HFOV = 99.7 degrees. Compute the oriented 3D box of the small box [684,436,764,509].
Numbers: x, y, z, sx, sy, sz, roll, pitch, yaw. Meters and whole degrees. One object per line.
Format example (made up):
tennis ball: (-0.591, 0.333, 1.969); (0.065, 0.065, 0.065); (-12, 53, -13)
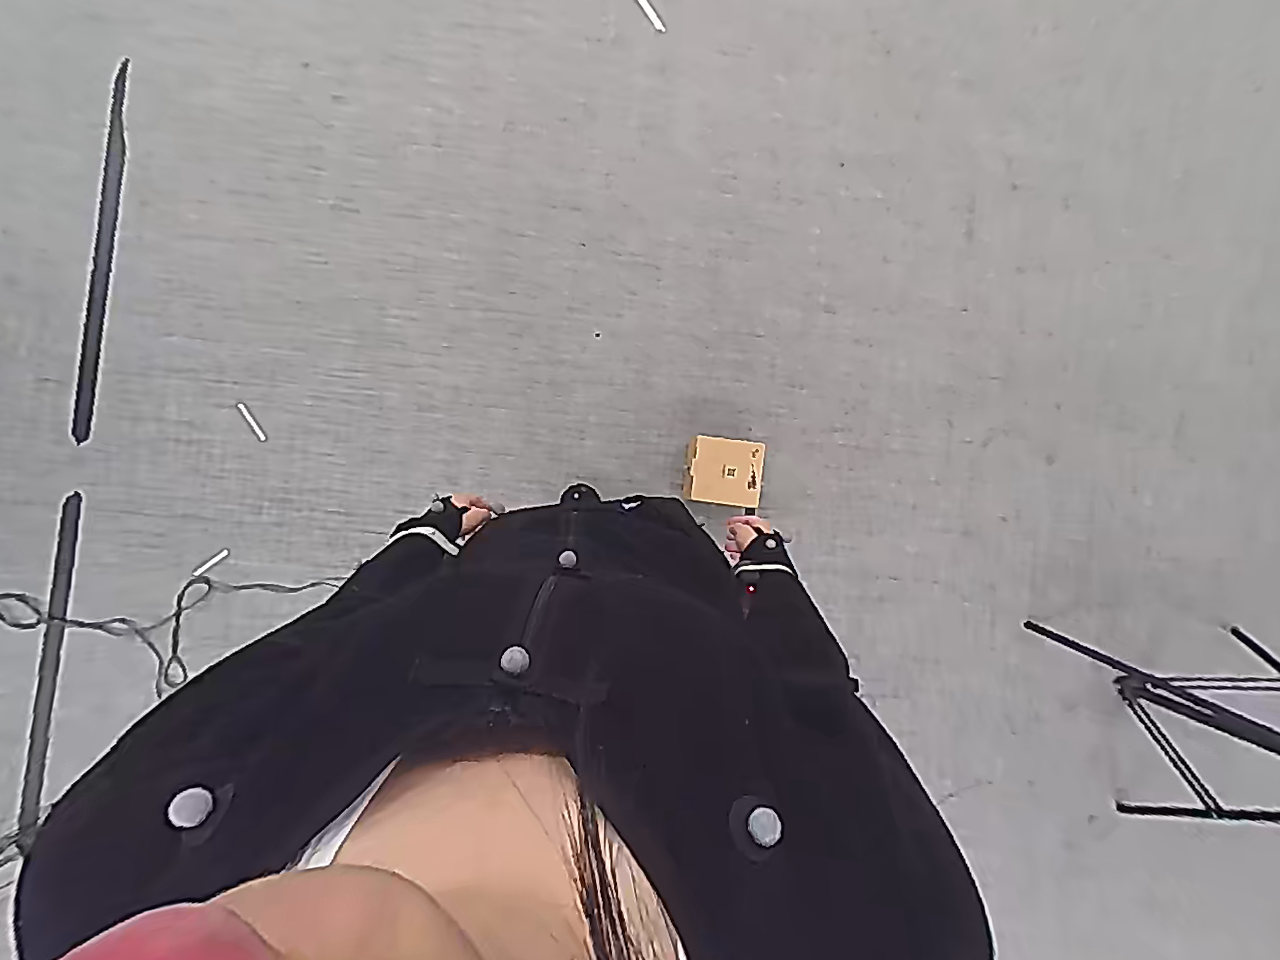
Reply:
small box: (0.215, -0.016, 1.432); (0.179, 0.176, 0.168); (8, 89, -1)
